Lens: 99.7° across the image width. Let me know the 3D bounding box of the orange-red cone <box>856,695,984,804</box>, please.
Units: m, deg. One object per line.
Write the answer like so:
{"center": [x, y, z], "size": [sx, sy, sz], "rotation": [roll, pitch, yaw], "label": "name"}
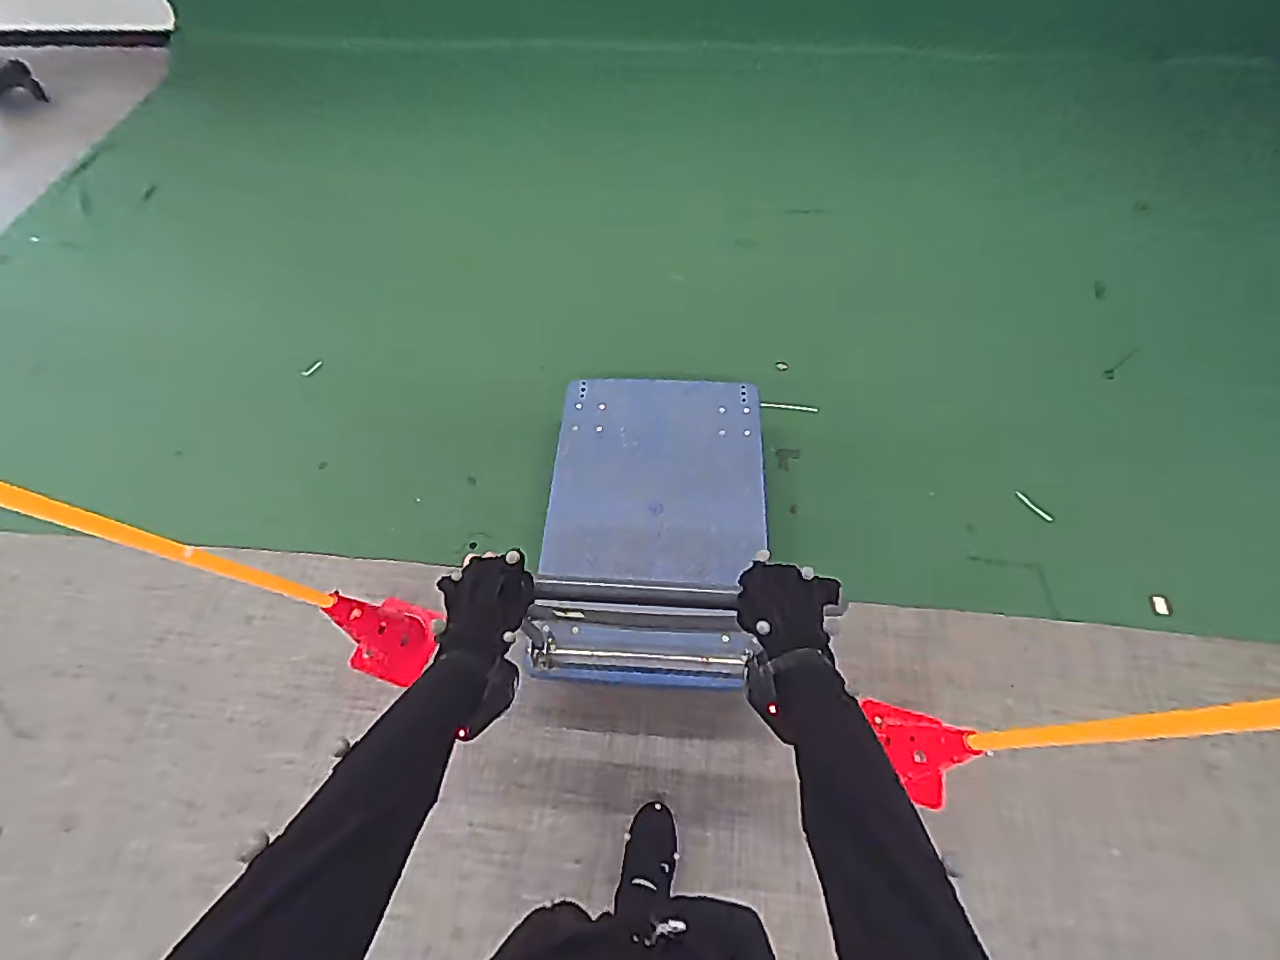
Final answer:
{"center": [0.611, 0.548, 1.125], "size": [0.198, 0.360, 0.199], "rotation": [14, 64, 11], "label": "orange-red cone"}
